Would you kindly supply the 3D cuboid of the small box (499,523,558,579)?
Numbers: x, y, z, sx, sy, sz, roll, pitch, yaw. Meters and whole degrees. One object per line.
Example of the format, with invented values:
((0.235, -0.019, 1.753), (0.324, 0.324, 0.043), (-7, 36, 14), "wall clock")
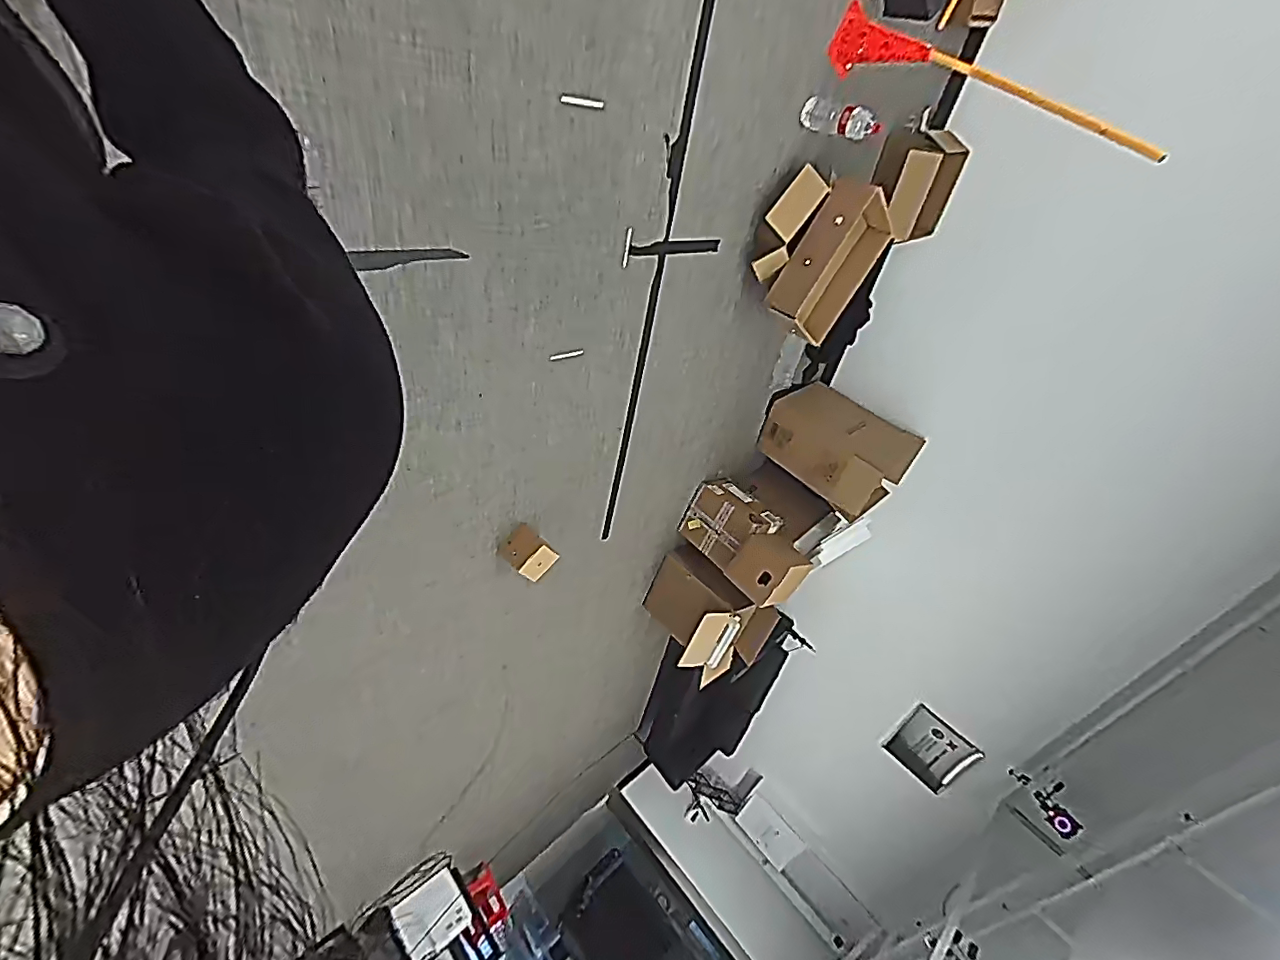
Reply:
((-0.513, 0.323, 2.476), (0.168, 0.176, 0.179), (-46, 151, -6), "small box")
